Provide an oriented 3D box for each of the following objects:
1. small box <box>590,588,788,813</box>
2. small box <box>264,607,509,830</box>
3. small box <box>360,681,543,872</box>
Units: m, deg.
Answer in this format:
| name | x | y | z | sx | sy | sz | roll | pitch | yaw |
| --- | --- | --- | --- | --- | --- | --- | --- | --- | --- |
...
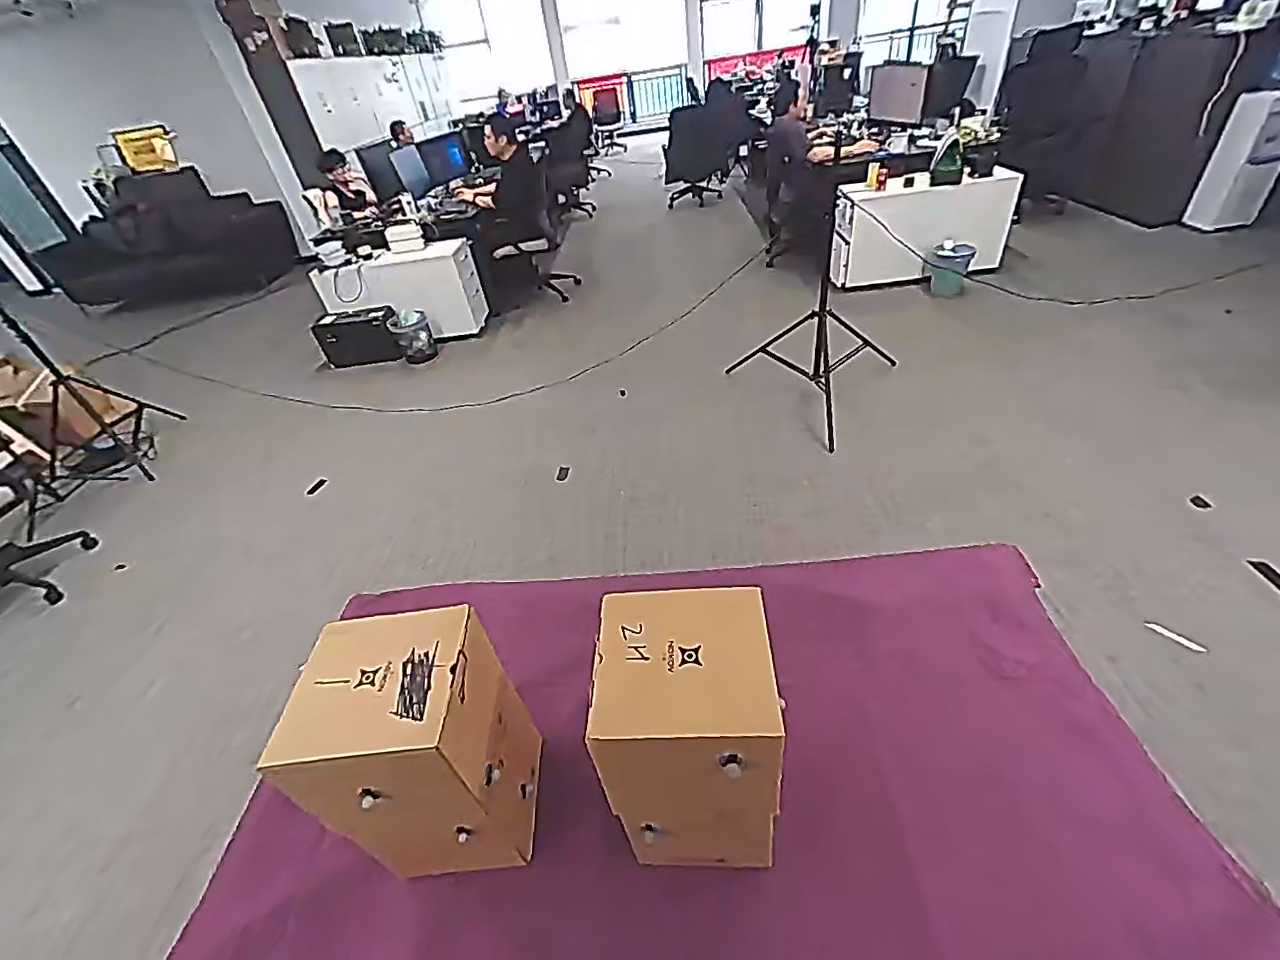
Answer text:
| name | x | y | z | sx | sy | sz | roll | pitch | yaw |
| --- | --- | --- | --- | --- | --- | --- | --- | --- | --- |
| small box | 0.055 | 0.236 | 0.582 | 0.179 | 0.176 | 0.168 | -4 | 37 | 7 |
| small box | -0.259 | 0.269 | 0.611 | 0.179 | 0.176 | 0.168 | -8 | 38 | 2 |
| small box | -0.240 | 0.394 | 0.716 | 0.179 | 0.176 | 0.168 | -7 | 38 | 2 |
